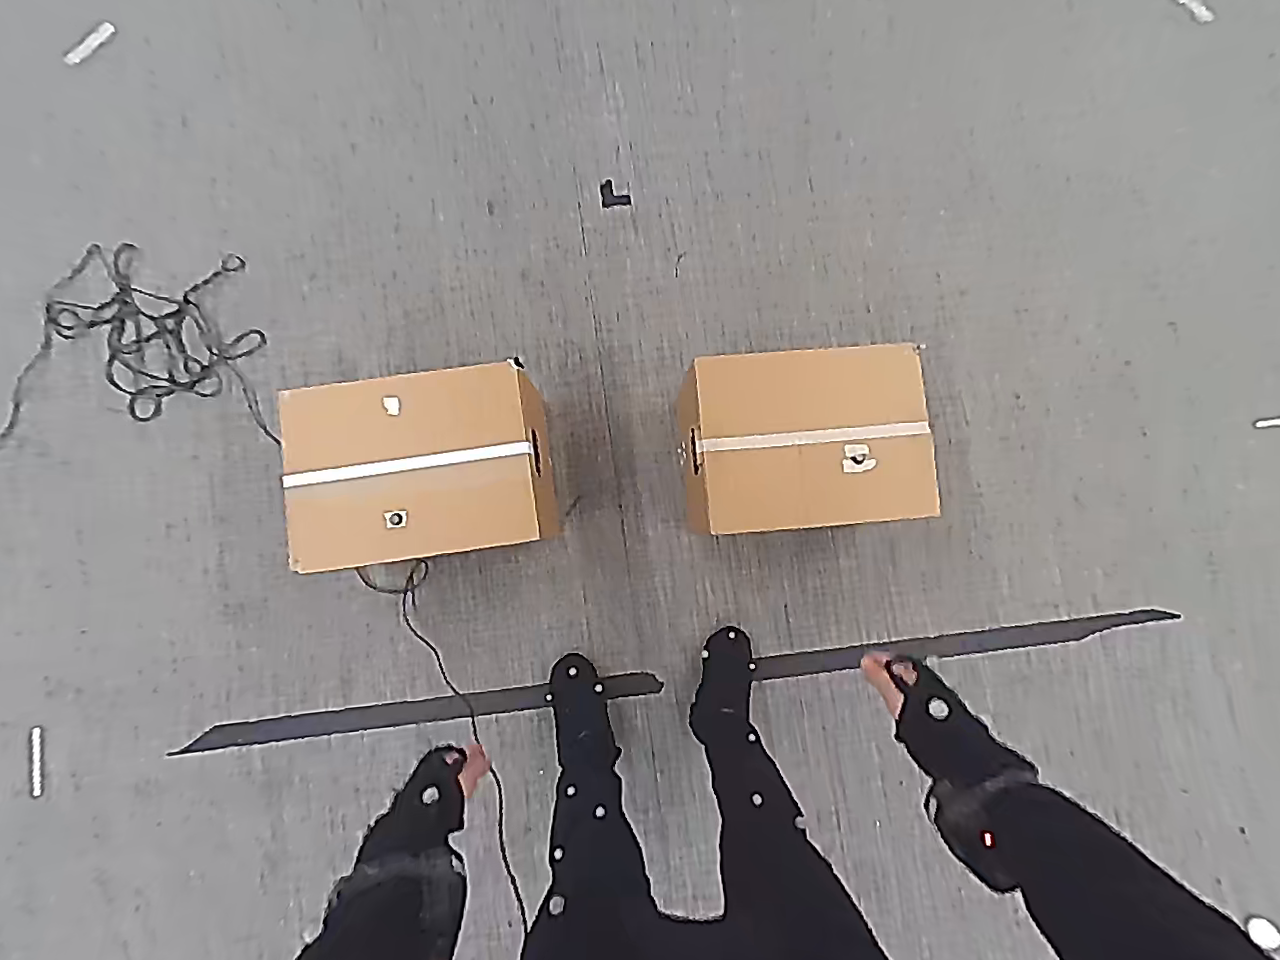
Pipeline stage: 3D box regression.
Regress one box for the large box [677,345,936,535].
[{"bbox_3d":[0.302,-0.060,1.096,0.408,0.320,0.320,-4,85,-3],"label":"large box"}]
